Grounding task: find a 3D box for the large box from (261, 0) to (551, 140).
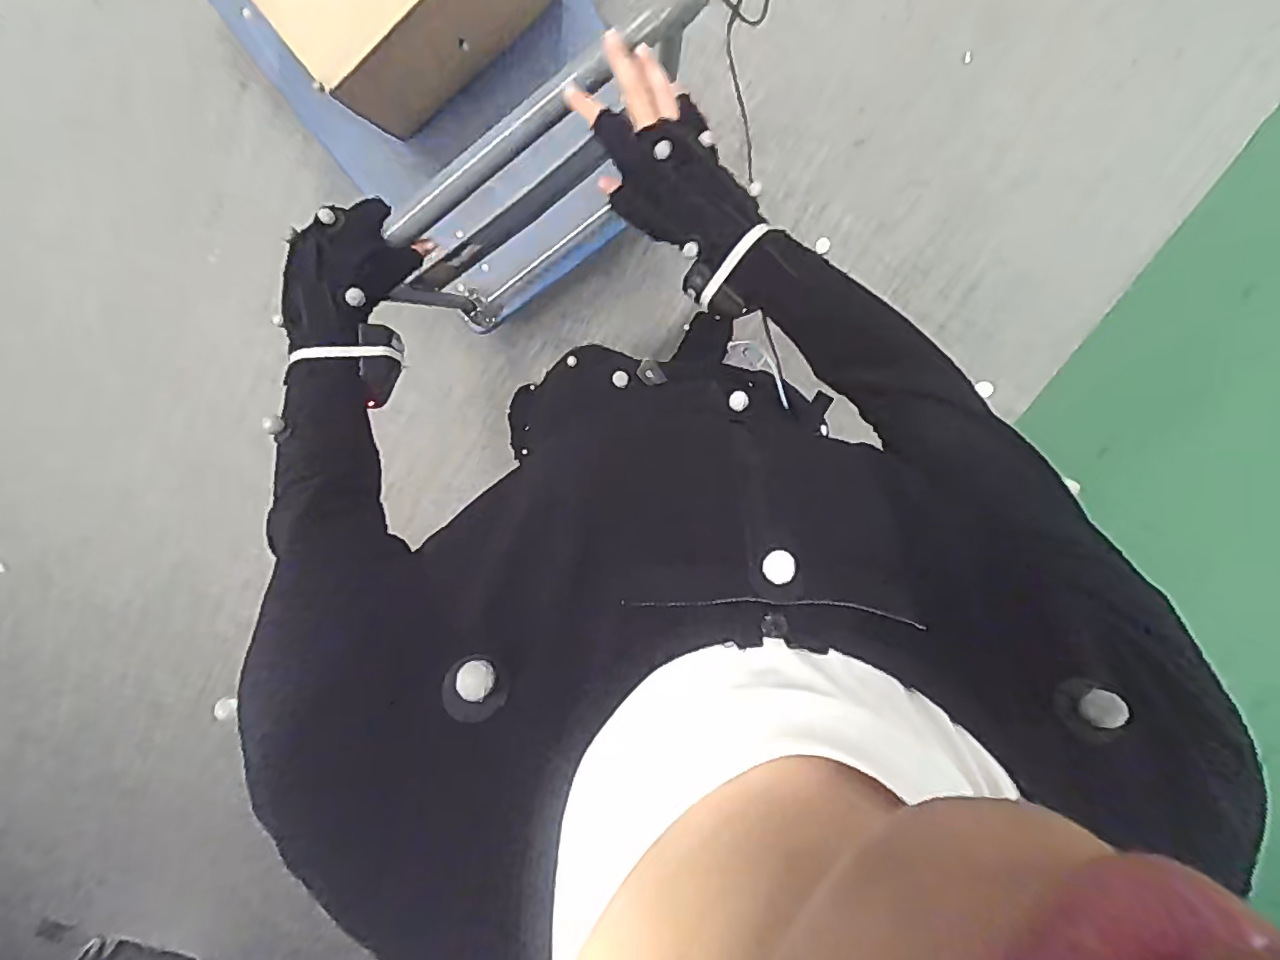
[{"bbox_3d":[-0.379,-0.842,0.852,0.408,0.320,0.320,-37,107,12],"label":"large box"}]
